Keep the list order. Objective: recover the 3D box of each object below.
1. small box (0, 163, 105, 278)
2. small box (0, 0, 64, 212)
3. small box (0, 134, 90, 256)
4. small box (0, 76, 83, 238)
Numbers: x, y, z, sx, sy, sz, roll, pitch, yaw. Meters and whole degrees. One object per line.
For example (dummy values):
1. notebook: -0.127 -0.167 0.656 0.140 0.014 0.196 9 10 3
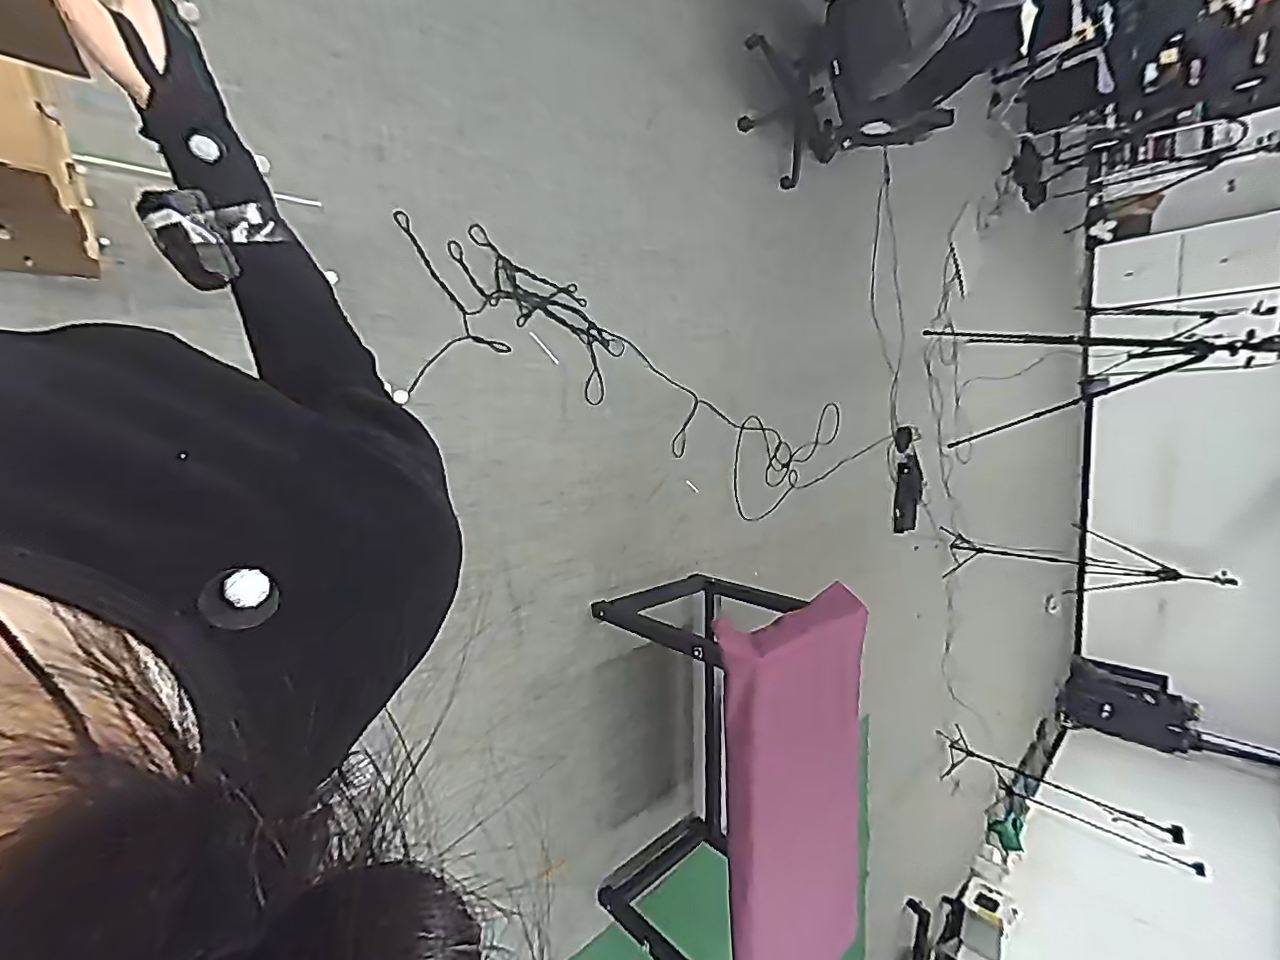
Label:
1. small box: -1.085 -0.466 0.955 0.179 0.176 0.168 -9 99 -42
2. small box: -0.766 -0.418 0.585 0.168 0.176 0.179 -11 102 -40
3. small box: -0.983 -0.456 0.827 0.179 0.176 0.168 -9 100 -41
4. small box: -0.870 -0.432 0.710 0.179 0.176 0.168 -11 101 -41
